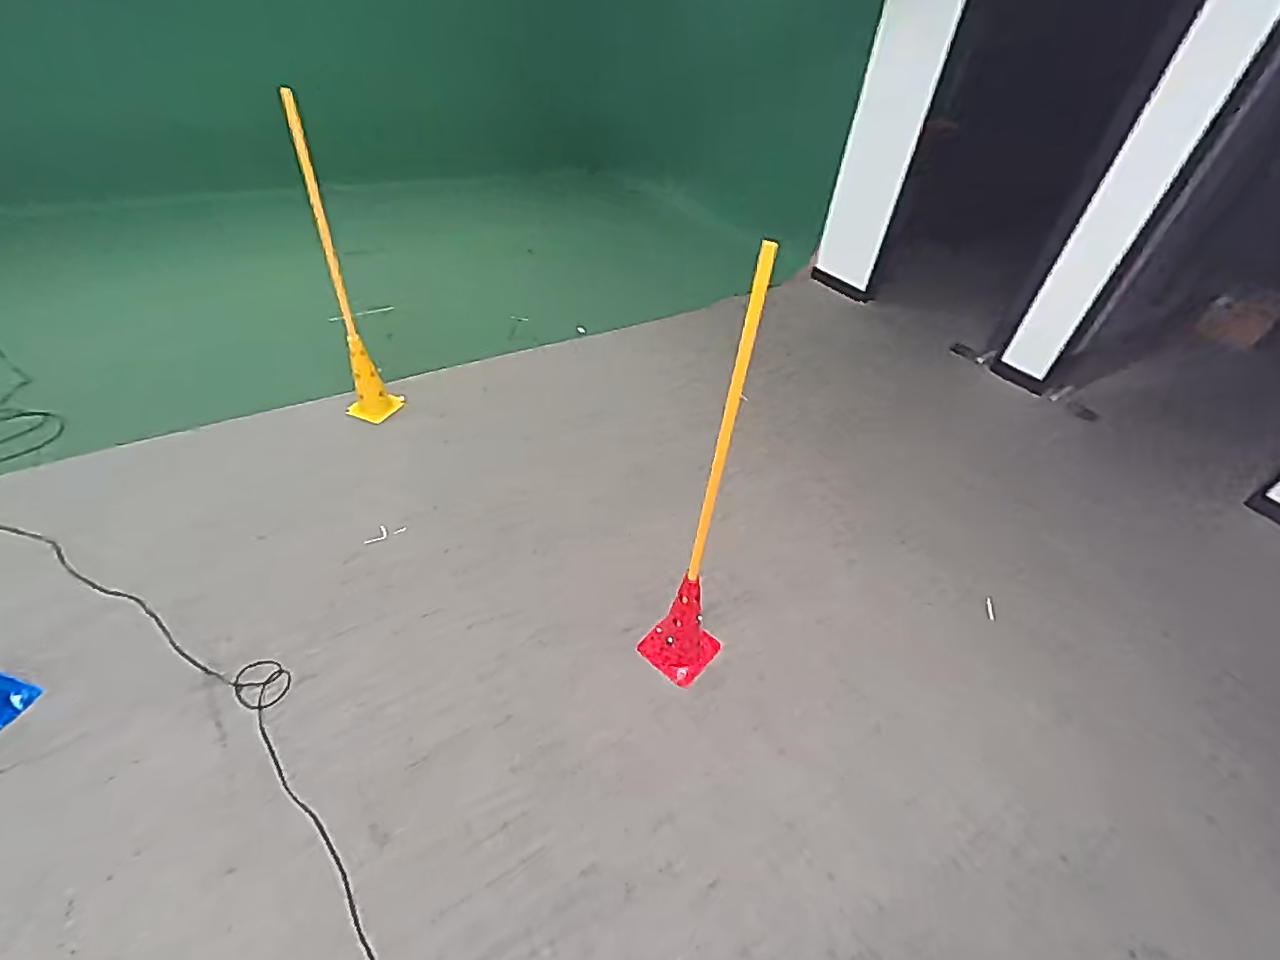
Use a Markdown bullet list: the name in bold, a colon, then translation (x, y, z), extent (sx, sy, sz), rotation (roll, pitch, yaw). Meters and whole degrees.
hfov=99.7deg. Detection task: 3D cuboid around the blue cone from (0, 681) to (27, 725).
- **blue cone**: translation (-1.740, 0.506, 1.293), extent (0.192, 0.380, 0.193), rotation (13, 46, 8)
